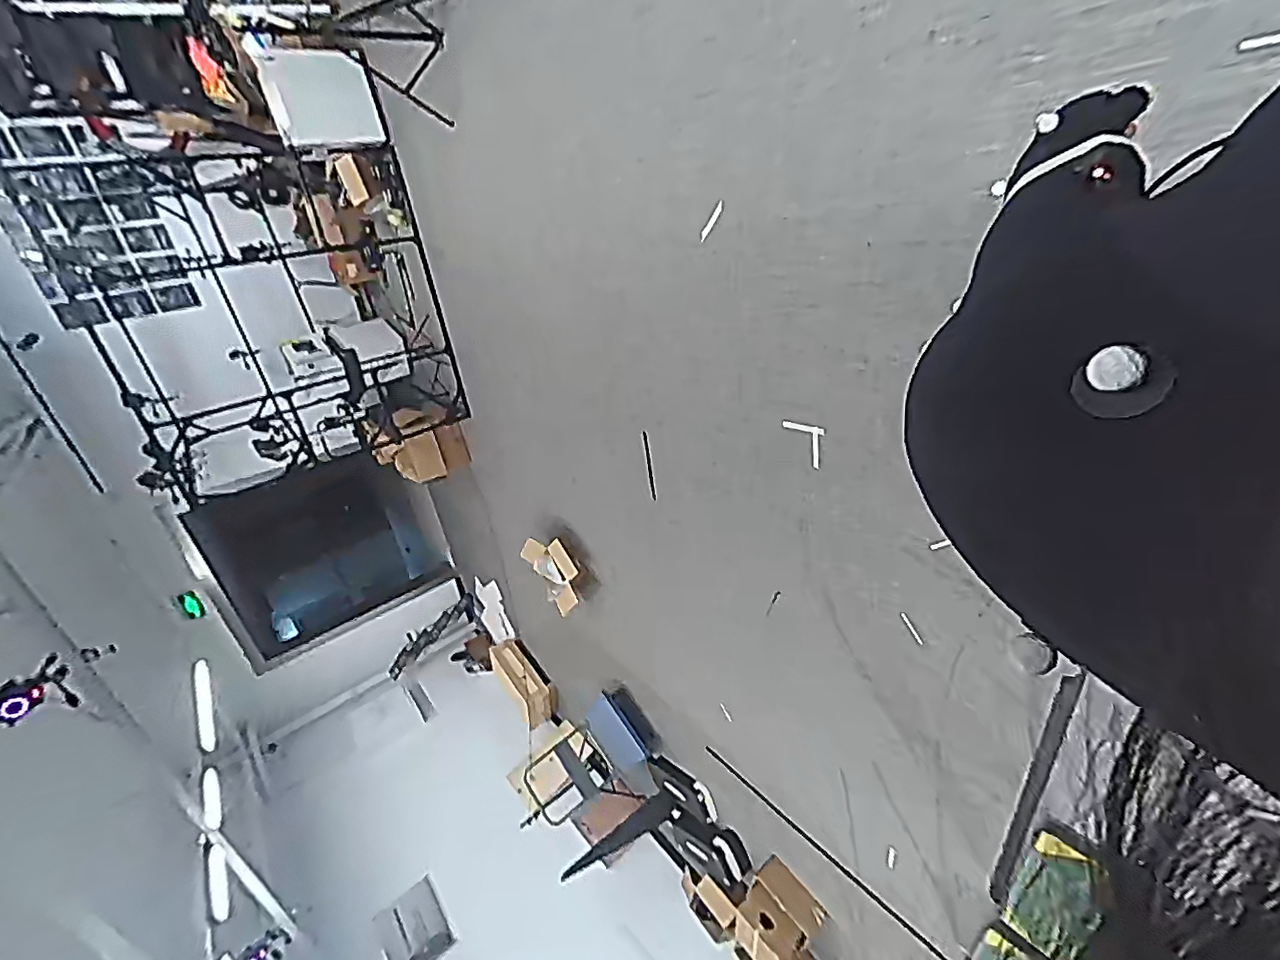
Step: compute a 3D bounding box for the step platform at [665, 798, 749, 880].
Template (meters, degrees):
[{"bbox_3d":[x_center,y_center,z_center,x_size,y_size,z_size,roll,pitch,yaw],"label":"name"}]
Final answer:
[{"bbox_3d":[0.464,2.588,3.914,0.684,0.204,0.286,-19,96,57],"label":"step platform"}]
